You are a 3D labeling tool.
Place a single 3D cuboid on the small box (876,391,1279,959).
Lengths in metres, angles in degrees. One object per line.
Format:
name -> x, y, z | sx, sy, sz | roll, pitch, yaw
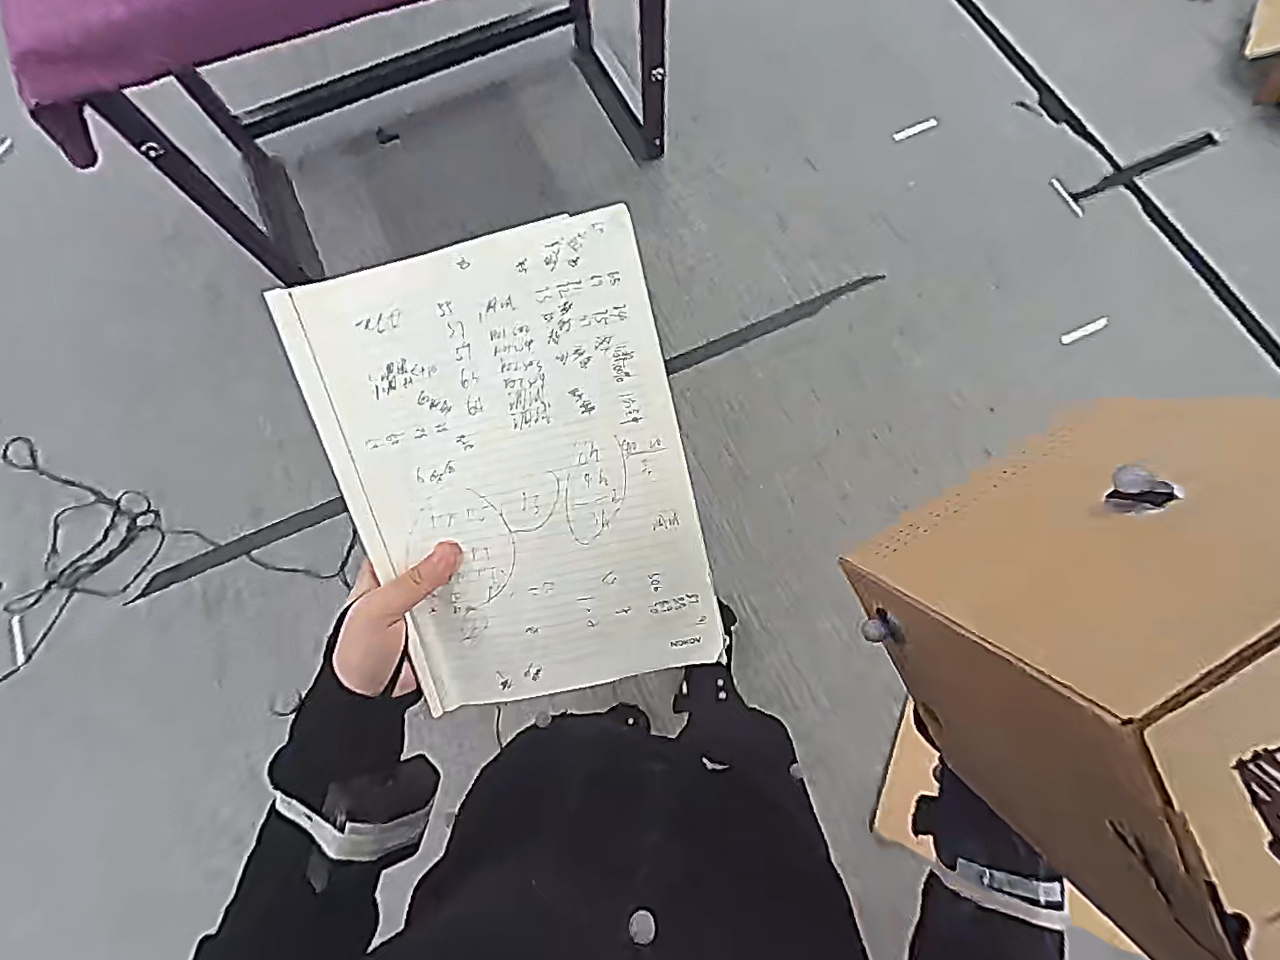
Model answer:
small box -> 0.240, 0.073, 0.245 | 0.179, 0.176, 0.168 | -33, 101, -3
